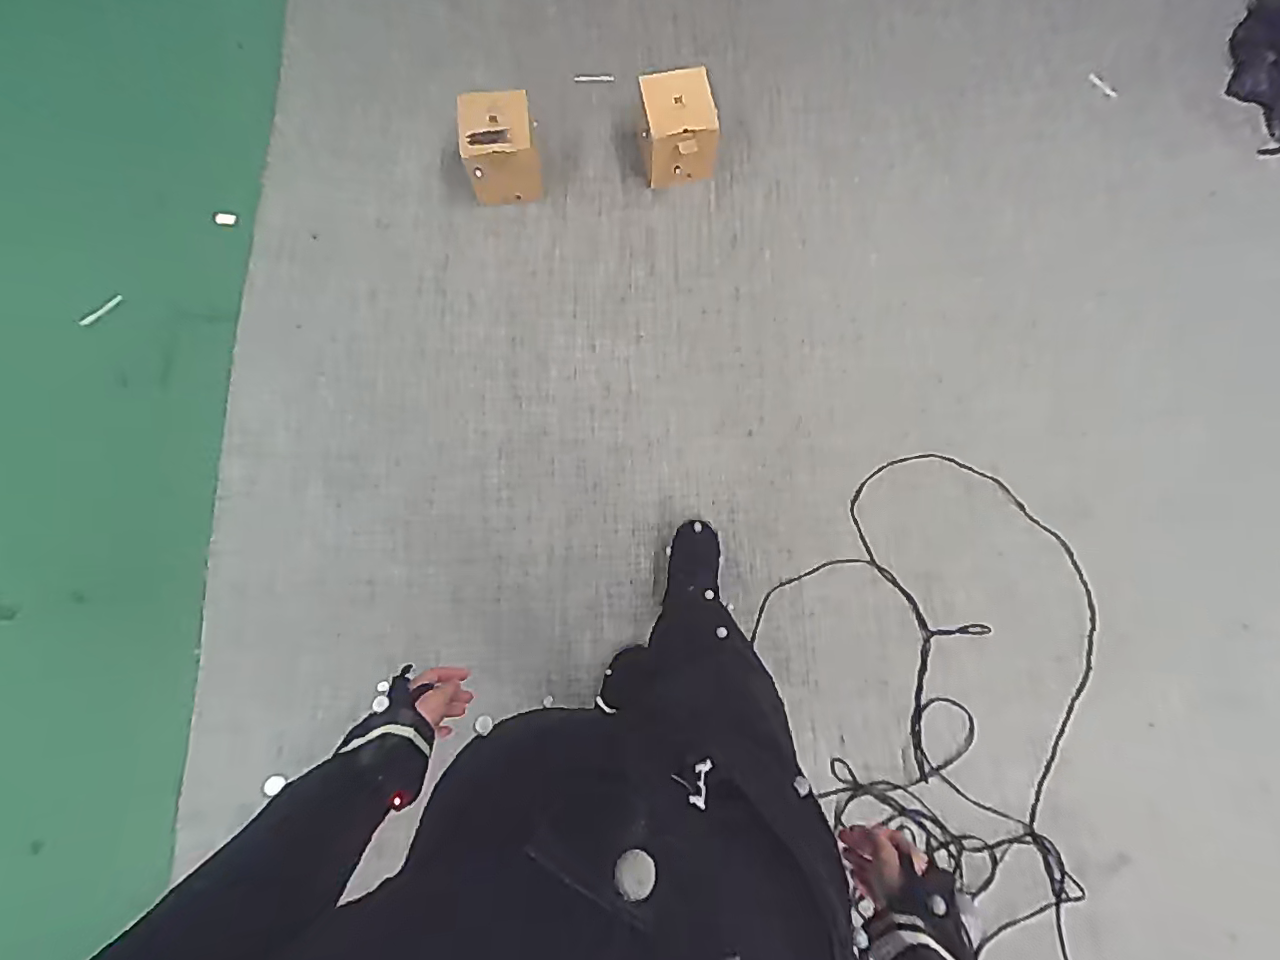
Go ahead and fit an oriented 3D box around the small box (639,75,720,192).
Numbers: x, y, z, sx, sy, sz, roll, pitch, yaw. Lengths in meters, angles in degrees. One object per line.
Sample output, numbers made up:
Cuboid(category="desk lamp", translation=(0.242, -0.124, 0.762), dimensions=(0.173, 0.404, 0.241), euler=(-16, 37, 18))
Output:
Cuboid(category="small box", translation=(0.093, -0.872, 1.369), dimensions=(0.168, 0.176, 0.179), euler=(-11, 79, -3))
